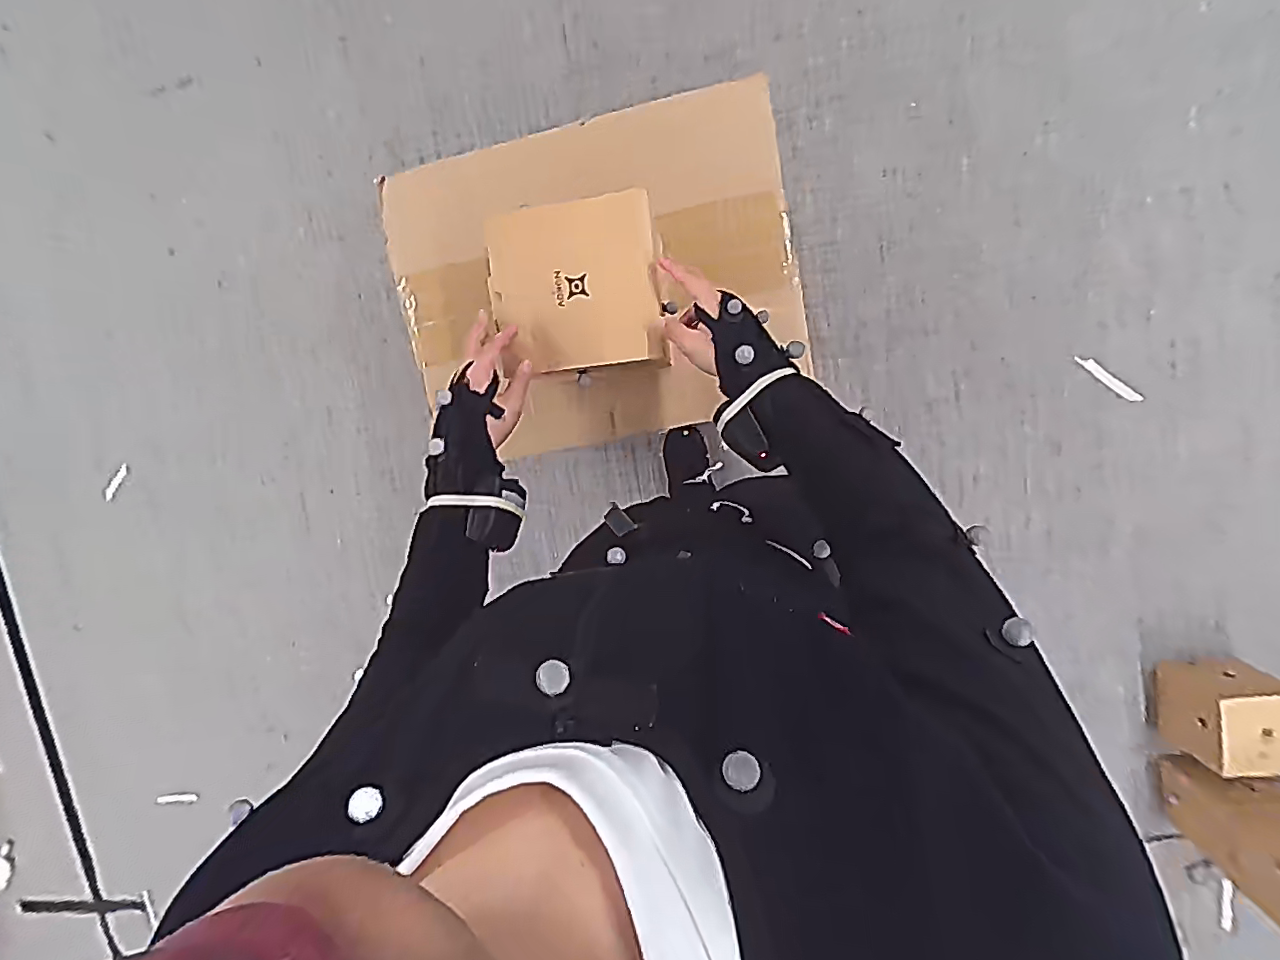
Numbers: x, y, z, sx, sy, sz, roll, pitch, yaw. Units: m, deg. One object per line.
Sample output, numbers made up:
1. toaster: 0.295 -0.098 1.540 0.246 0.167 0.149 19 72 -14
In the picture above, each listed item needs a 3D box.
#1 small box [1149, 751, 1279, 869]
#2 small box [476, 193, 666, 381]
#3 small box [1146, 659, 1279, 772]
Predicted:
1. small box: 1.313 0.735 1.221 0.179 0.176 0.168 -9 97 9
2. small box: -0.064 -0.208 0.629 0.179 0.176 0.168 -6 98 9
3. small box: 1.271 0.509 1.195 0.168 0.176 0.179 -7 96 9
